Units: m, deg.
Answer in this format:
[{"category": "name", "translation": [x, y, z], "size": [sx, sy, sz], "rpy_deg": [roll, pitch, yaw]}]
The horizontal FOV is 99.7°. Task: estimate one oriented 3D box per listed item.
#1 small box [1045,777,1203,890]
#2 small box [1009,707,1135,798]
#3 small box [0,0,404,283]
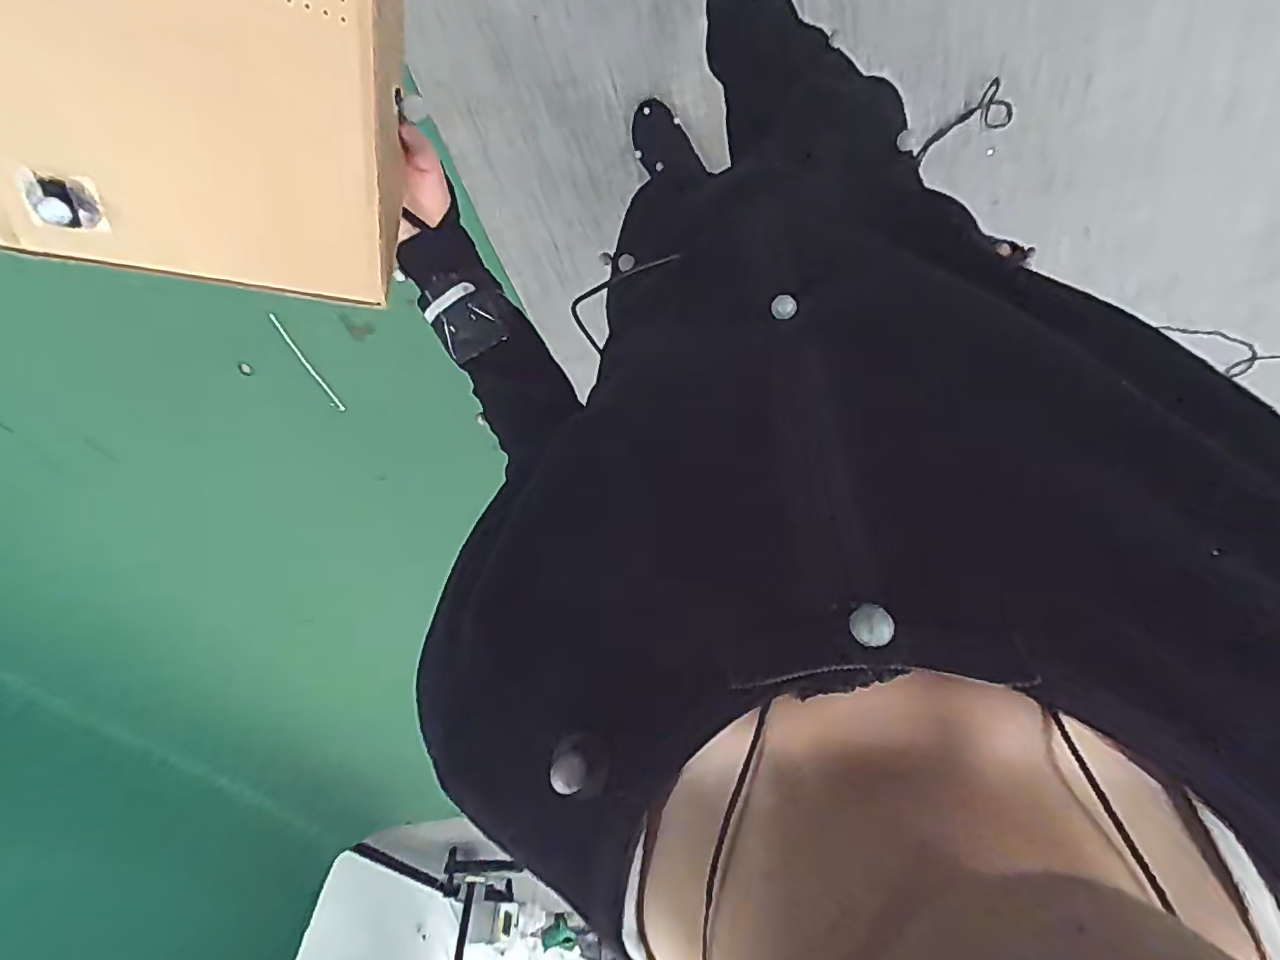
[{"category": "small box", "translation": [1.065, 0.785, 1.204], "size": [0.168, 0.176, 0.179], "rpy_deg": [30, 125, -24]}, {"category": "small box", "translation": [1.067, 0.690, 1.340], "size": [0.179, 0.176, 0.168], "rpy_deg": [-33, 123, 25]}, {"category": "small box", "translation": [-0.215, -0.231, 0.266], "size": [0.179, 0.168, 0.176], "rpy_deg": [4, 139, -23]}]
